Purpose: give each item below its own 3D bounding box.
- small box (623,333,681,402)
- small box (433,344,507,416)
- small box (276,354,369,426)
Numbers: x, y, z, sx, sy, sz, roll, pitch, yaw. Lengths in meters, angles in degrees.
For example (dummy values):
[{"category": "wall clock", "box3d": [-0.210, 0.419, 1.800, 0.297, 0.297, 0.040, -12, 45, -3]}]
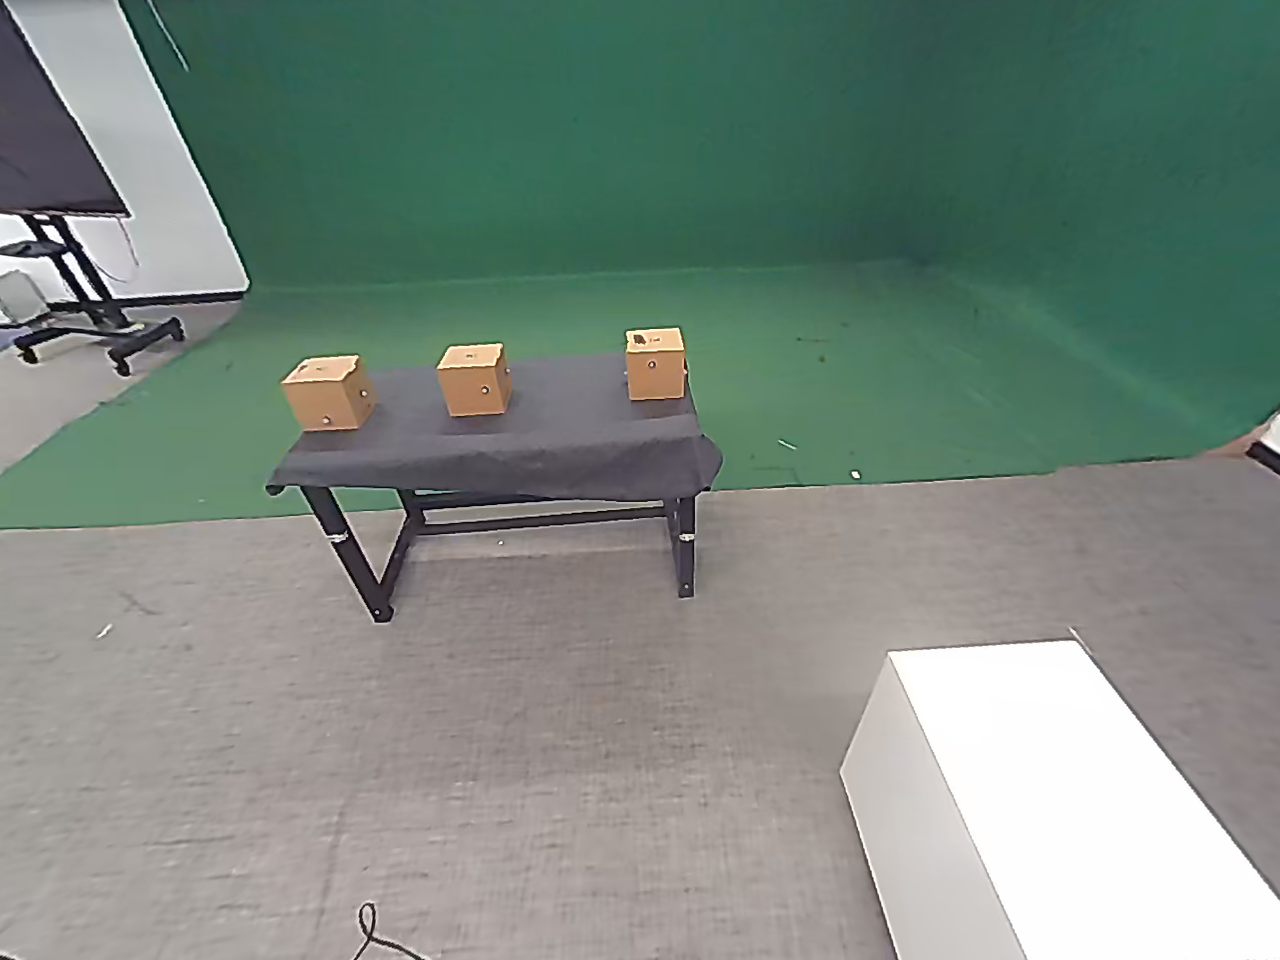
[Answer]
[{"category": "small box", "box3d": [0.038, -0.360, 1.742, 0.179, 0.176, 0.168, -1, 38, -1]}, {"category": "small box", "box3d": [-0.525, -0.314, 1.703, 0.179, 0.176, 0.168, -4, 36, -1]}, {"category": "small box", "box3d": [-0.960, -0.275, 1.657, 0.179, 0.176, 0.168, -2, 37, -3]}]
